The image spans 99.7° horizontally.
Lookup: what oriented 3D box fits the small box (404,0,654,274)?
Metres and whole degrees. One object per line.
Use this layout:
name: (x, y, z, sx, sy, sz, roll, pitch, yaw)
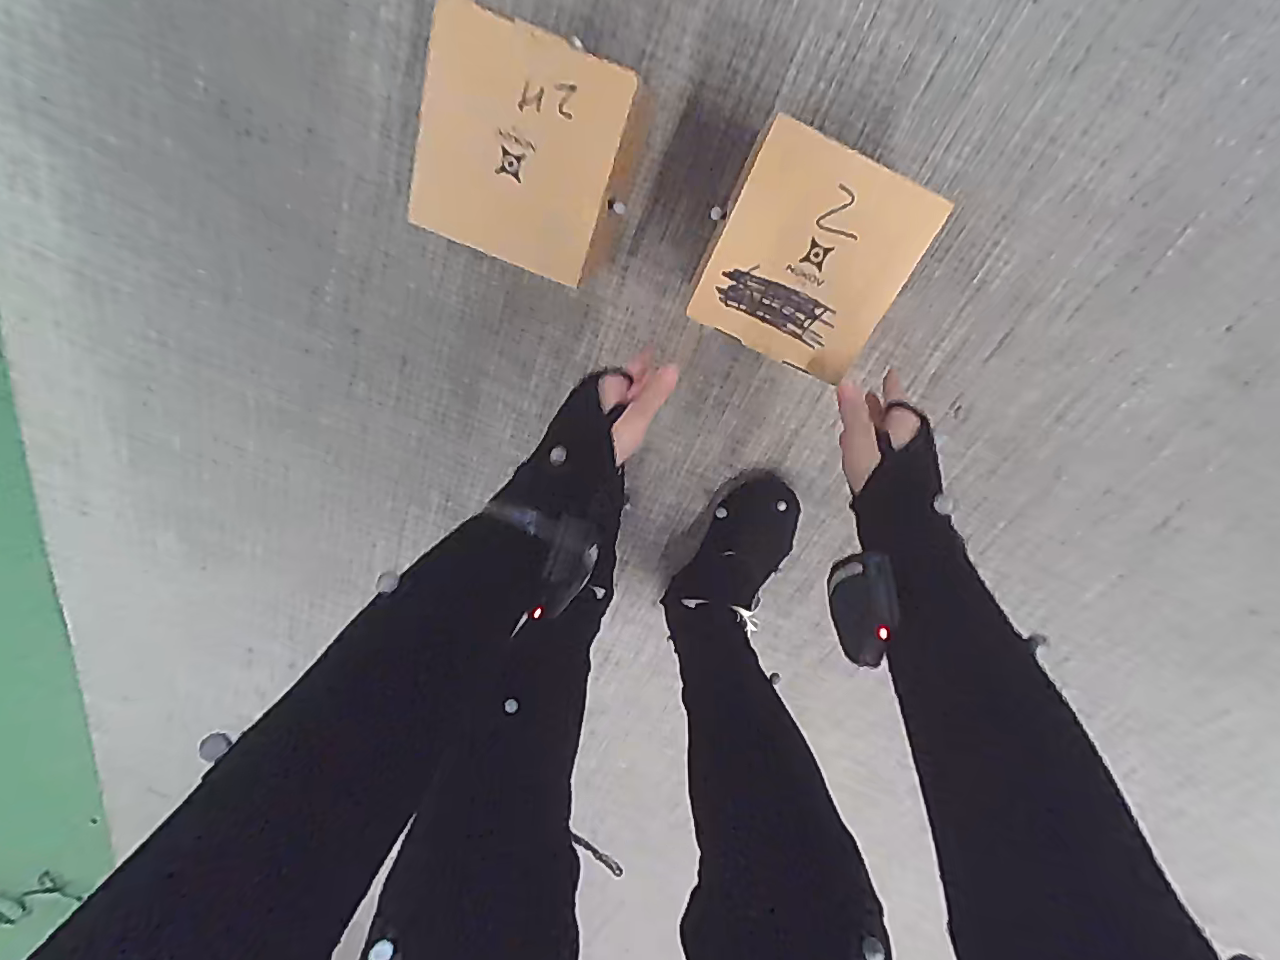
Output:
small box: (-0.093, -0.323, 0.510, 0.168, 0.176, 0.179, 22, 119, -6)
